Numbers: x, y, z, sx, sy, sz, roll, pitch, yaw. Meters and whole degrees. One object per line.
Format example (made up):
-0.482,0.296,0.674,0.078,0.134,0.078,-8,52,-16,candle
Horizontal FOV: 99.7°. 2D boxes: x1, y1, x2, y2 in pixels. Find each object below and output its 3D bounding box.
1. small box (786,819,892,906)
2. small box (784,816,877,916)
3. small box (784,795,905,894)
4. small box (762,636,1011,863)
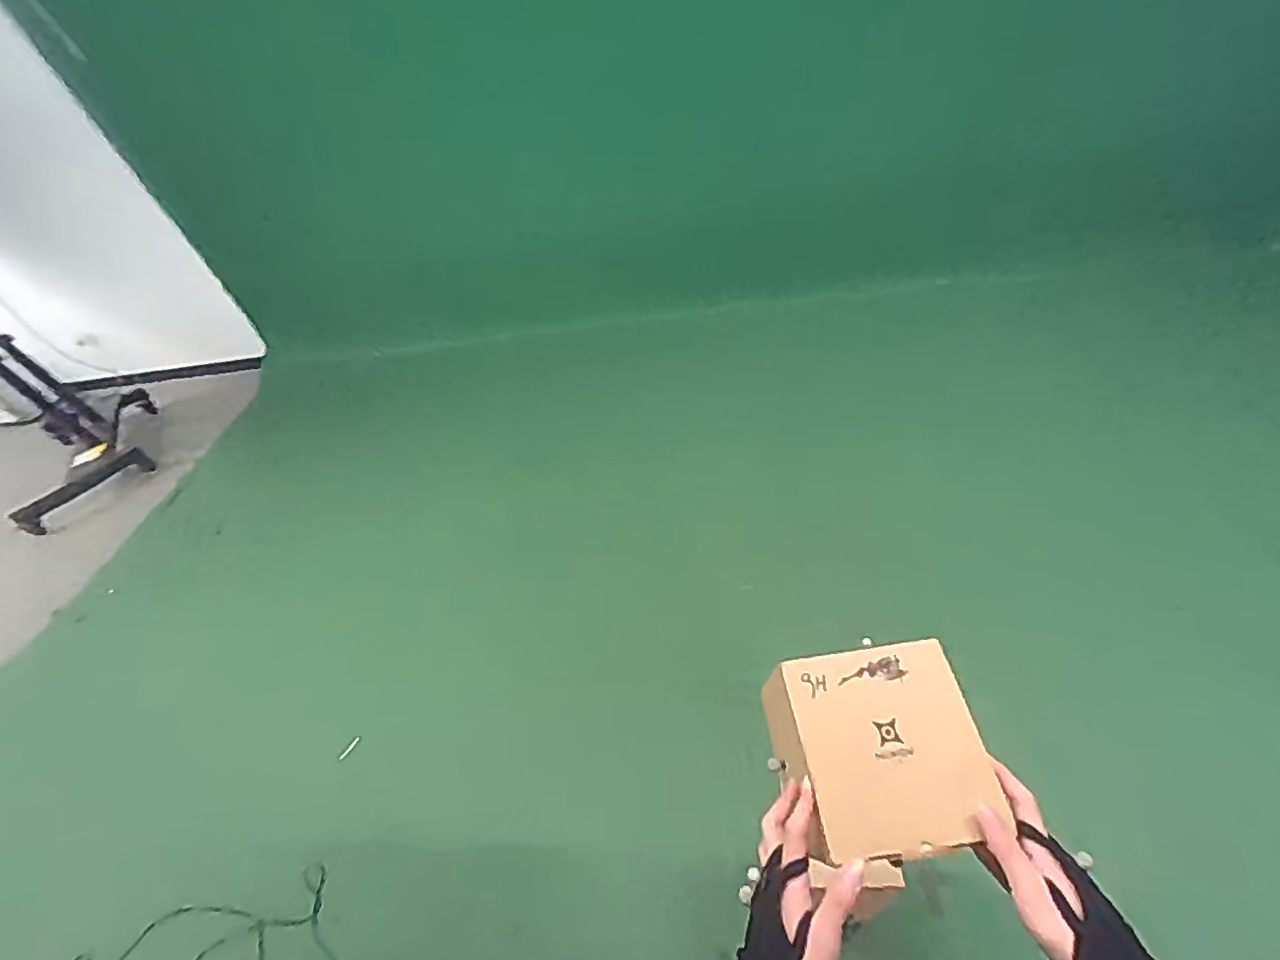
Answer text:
0.400,0.768,1.118,0.179,0.176,0.168,-6,47,10,small box
0.425,0.879,1.233,0.179,0.176,0.168,-4,47,12,small box
0.366,0.657,1.002,0.179,0.176,0.168,-6,47,9,small box
0.238,0.282,0.576,0.168,0.176,0.179,-8,60,-1,small box
